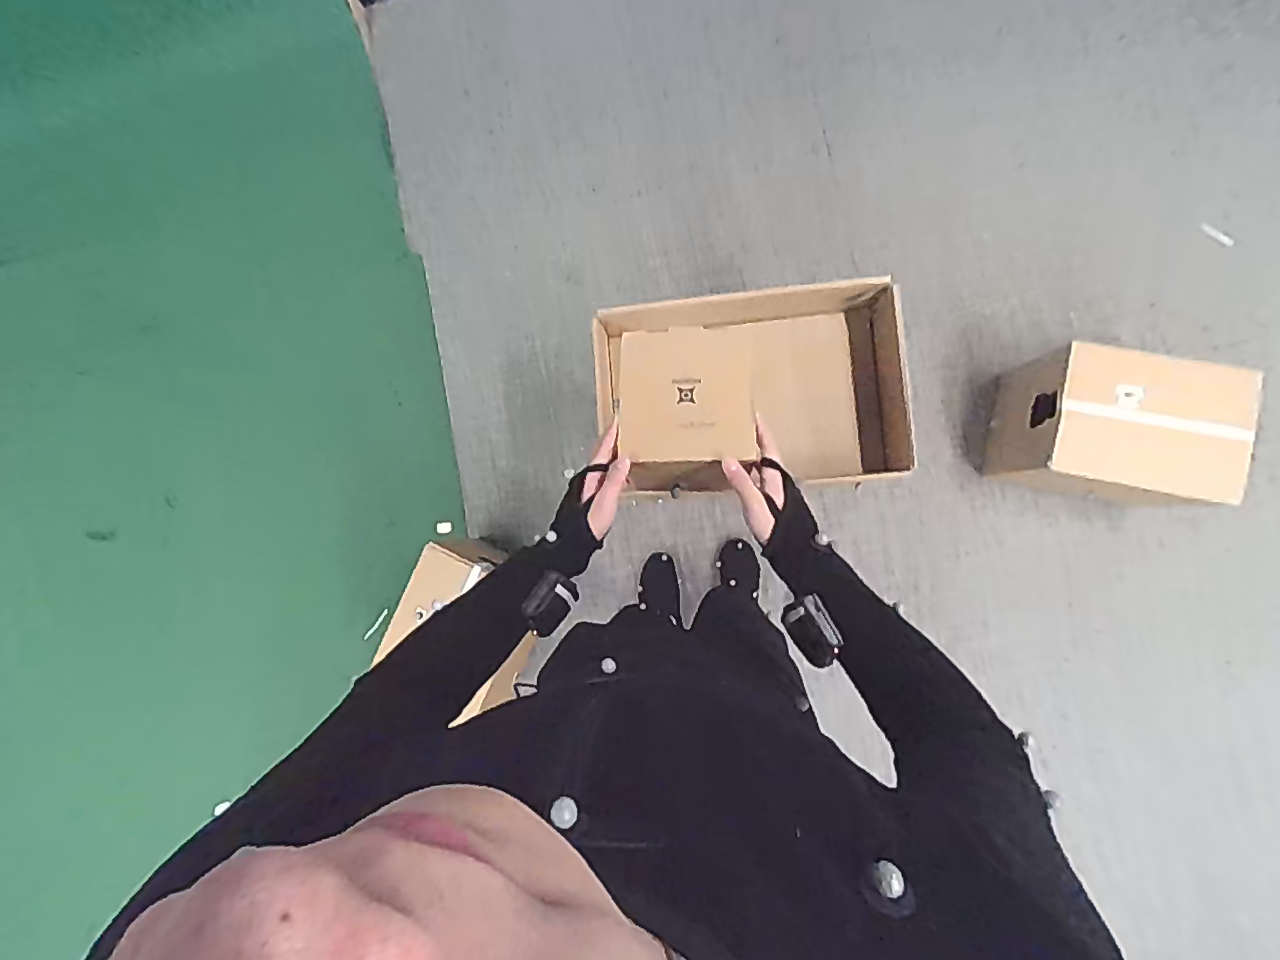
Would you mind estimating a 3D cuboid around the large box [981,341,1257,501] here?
[{"bbox_3d":[1.177,-0.132,1.376,0.408,0.320,0.320,12,87,8],"label":"large box"}]
